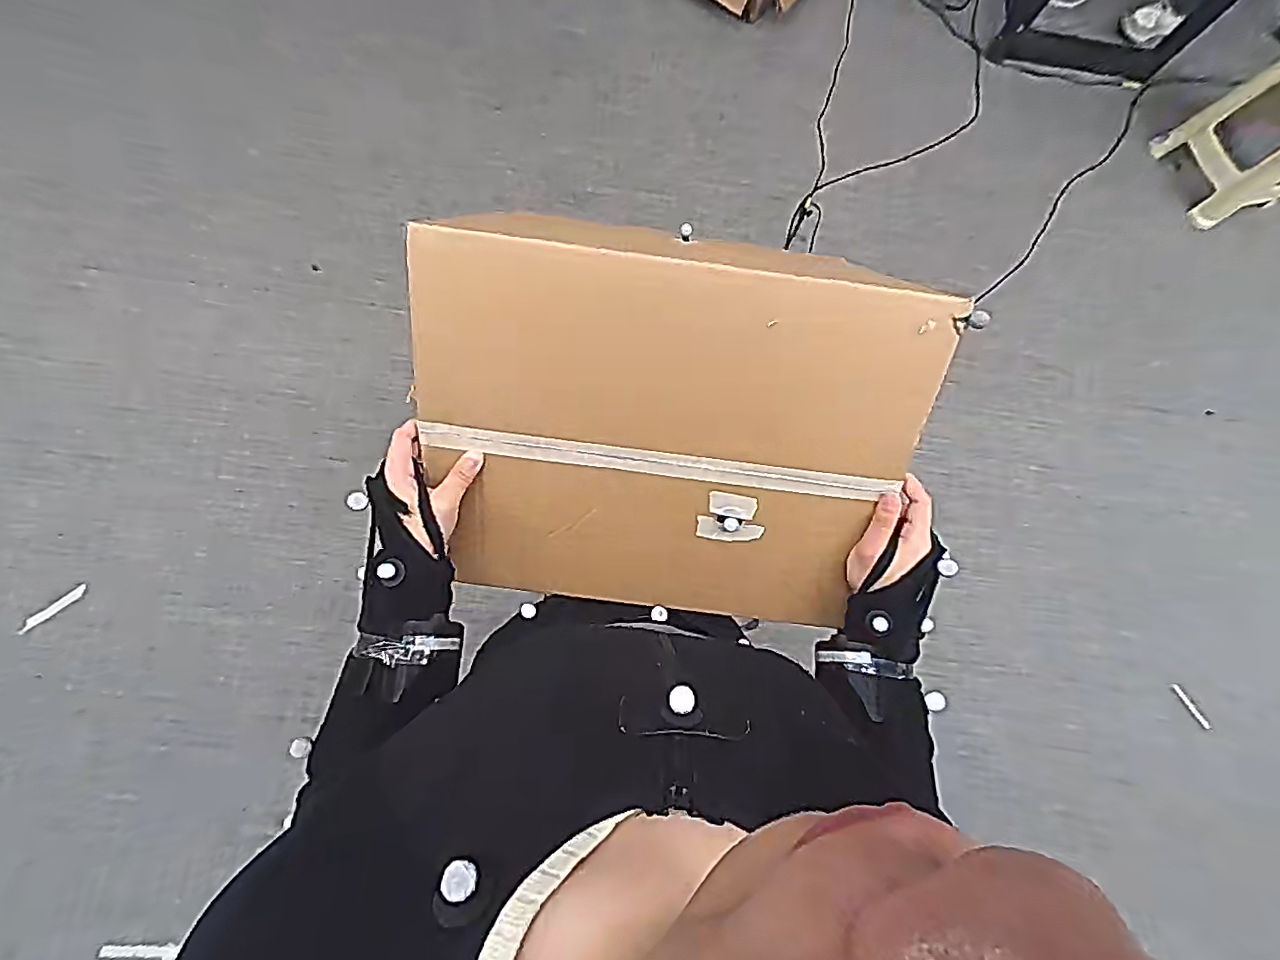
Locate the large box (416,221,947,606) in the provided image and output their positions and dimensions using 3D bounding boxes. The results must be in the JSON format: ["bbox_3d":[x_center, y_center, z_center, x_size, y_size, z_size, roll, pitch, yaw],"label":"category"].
[{"bbox_3d":[0.019,-0.094,0.597,0.408,0.320,0.320,6,119,-3],"label":"large box"}]
